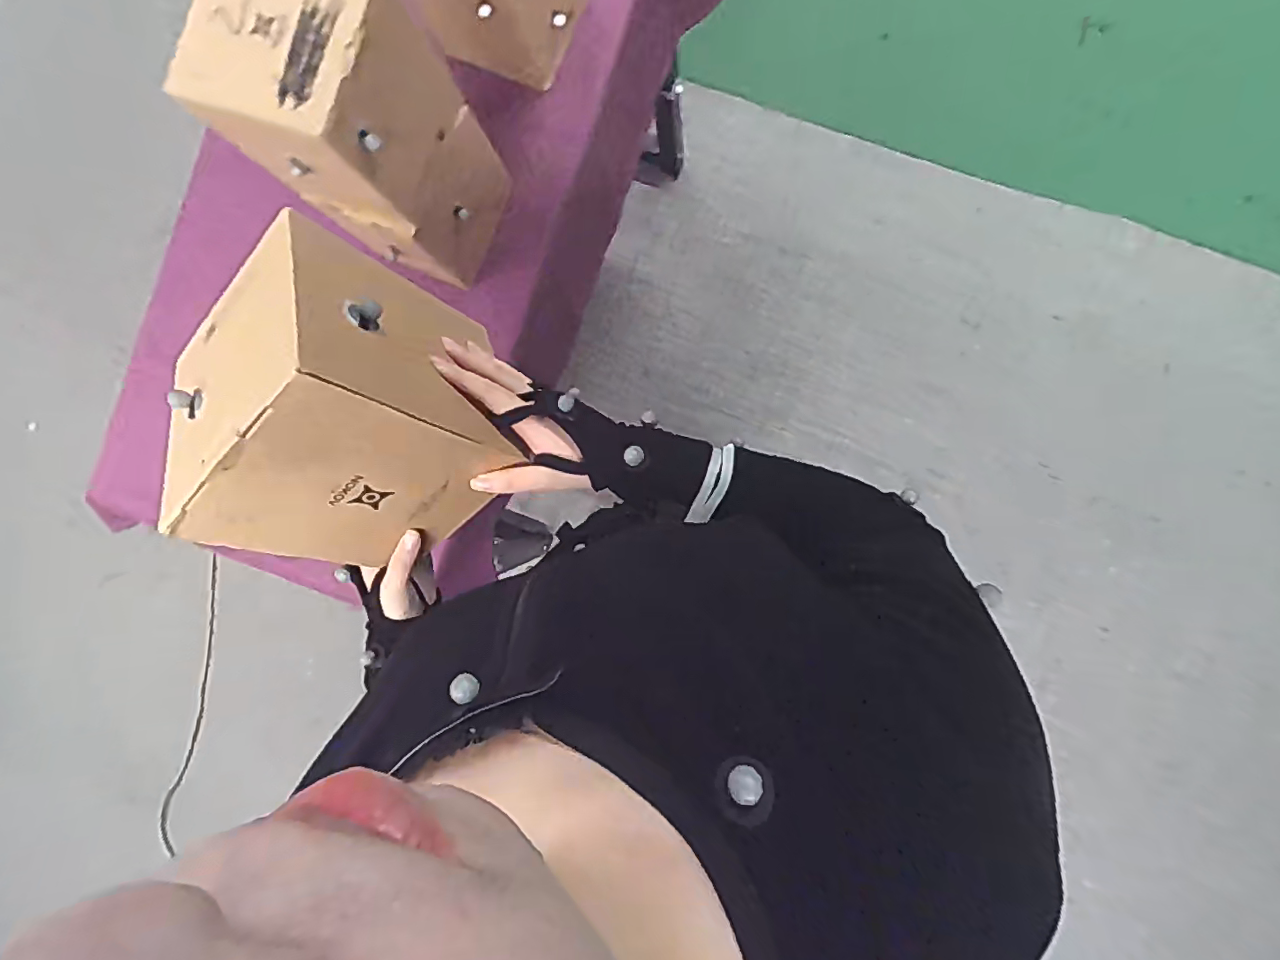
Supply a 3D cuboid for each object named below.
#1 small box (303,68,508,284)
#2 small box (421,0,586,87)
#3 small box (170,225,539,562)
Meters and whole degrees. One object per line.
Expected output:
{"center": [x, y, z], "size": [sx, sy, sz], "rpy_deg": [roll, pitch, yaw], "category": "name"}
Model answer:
{"center": [-0.305, -0.398, 0.741], "size": [0.168, 0.176, 0.179], "rpy_deg": [24, 92, 6], "category": "small box"}
{"center": [-0.195, -0.690, 0.738], "size": [0.179, 0.176, 0.168], "rpy_deg": [25, 92, 6], "category": "small box"}
{"center": [-0.214, -0.062, 0.419], "size": [0.168, 0.179, 0.176], "rpy_deg": [-36, 57, 19], "category": "small box"}
